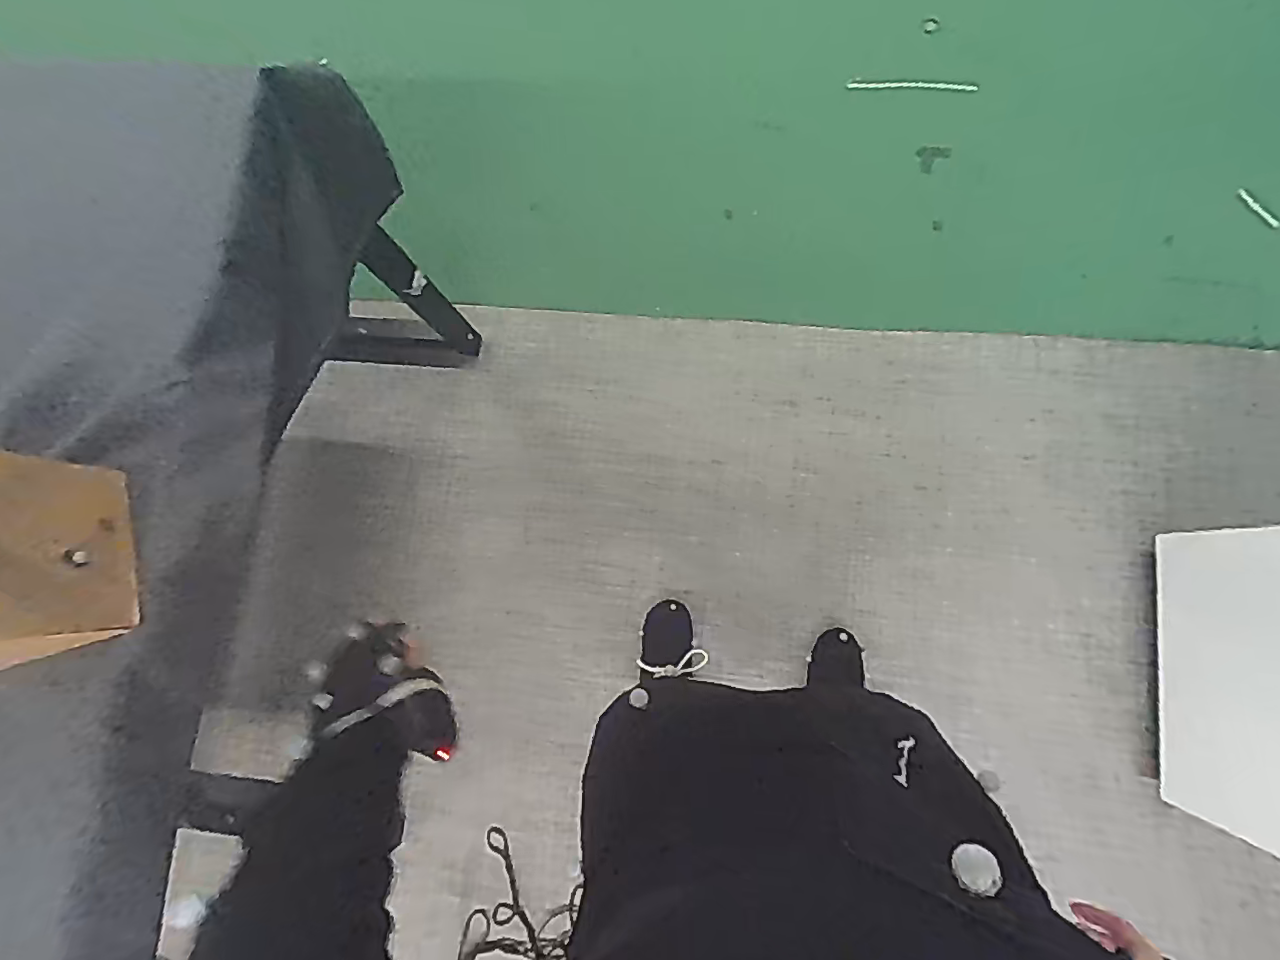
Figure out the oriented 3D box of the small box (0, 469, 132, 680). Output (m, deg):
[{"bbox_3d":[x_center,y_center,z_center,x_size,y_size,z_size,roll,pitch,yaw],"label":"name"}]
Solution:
[{"bbox_3d":[-0.615,0.094,0.479,0.179,0.176,0.168,-17,79,2],"label":"small box"}]
